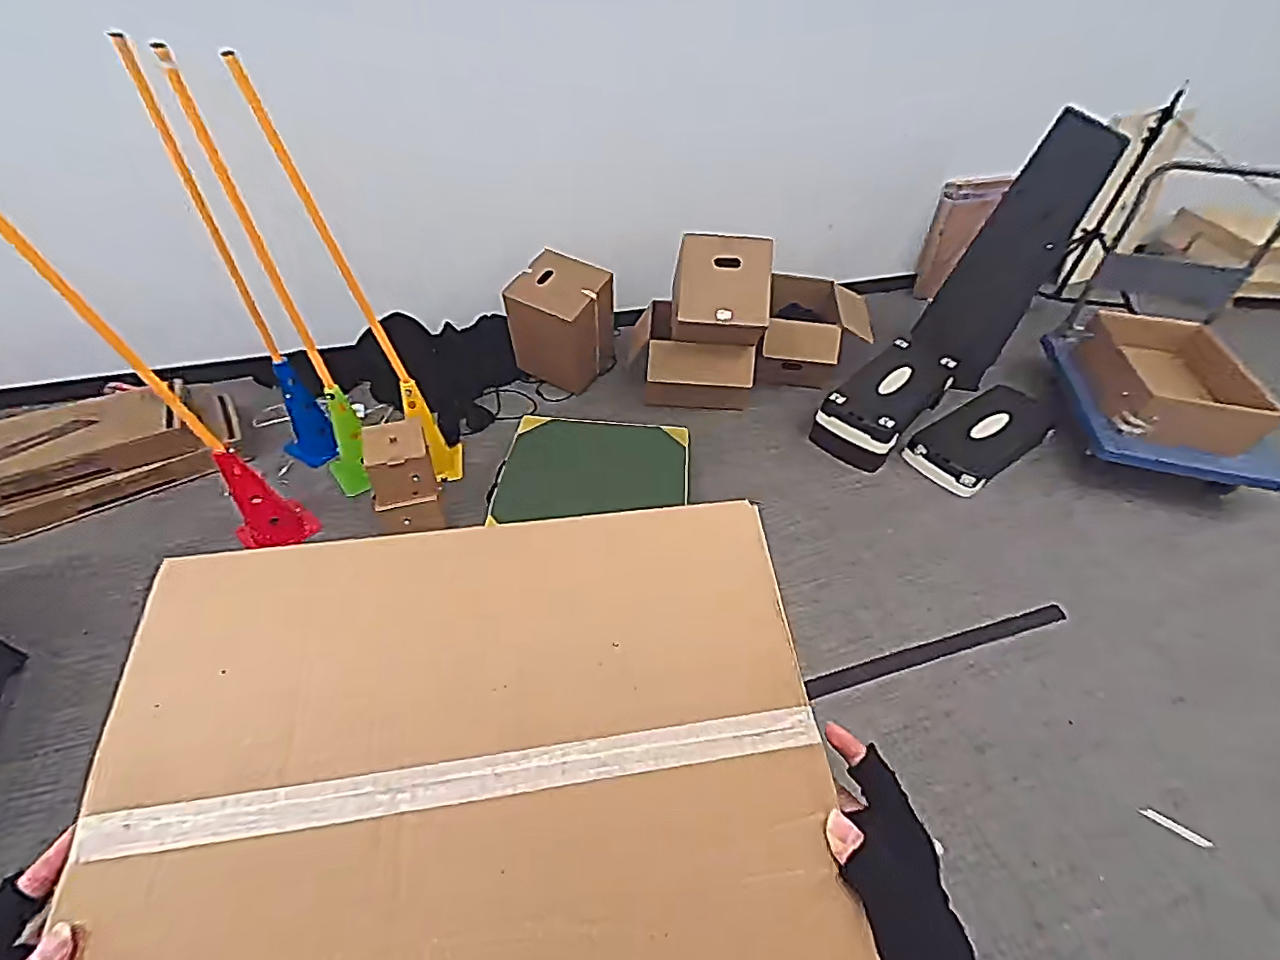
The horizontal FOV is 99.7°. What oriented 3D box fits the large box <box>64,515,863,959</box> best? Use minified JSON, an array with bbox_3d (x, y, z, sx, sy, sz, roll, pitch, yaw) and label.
[{"bbox_3d":[-0.100,0.250,0.444,0.408,0.320,0.320,-5,60,-6],"label":"large box"}]
